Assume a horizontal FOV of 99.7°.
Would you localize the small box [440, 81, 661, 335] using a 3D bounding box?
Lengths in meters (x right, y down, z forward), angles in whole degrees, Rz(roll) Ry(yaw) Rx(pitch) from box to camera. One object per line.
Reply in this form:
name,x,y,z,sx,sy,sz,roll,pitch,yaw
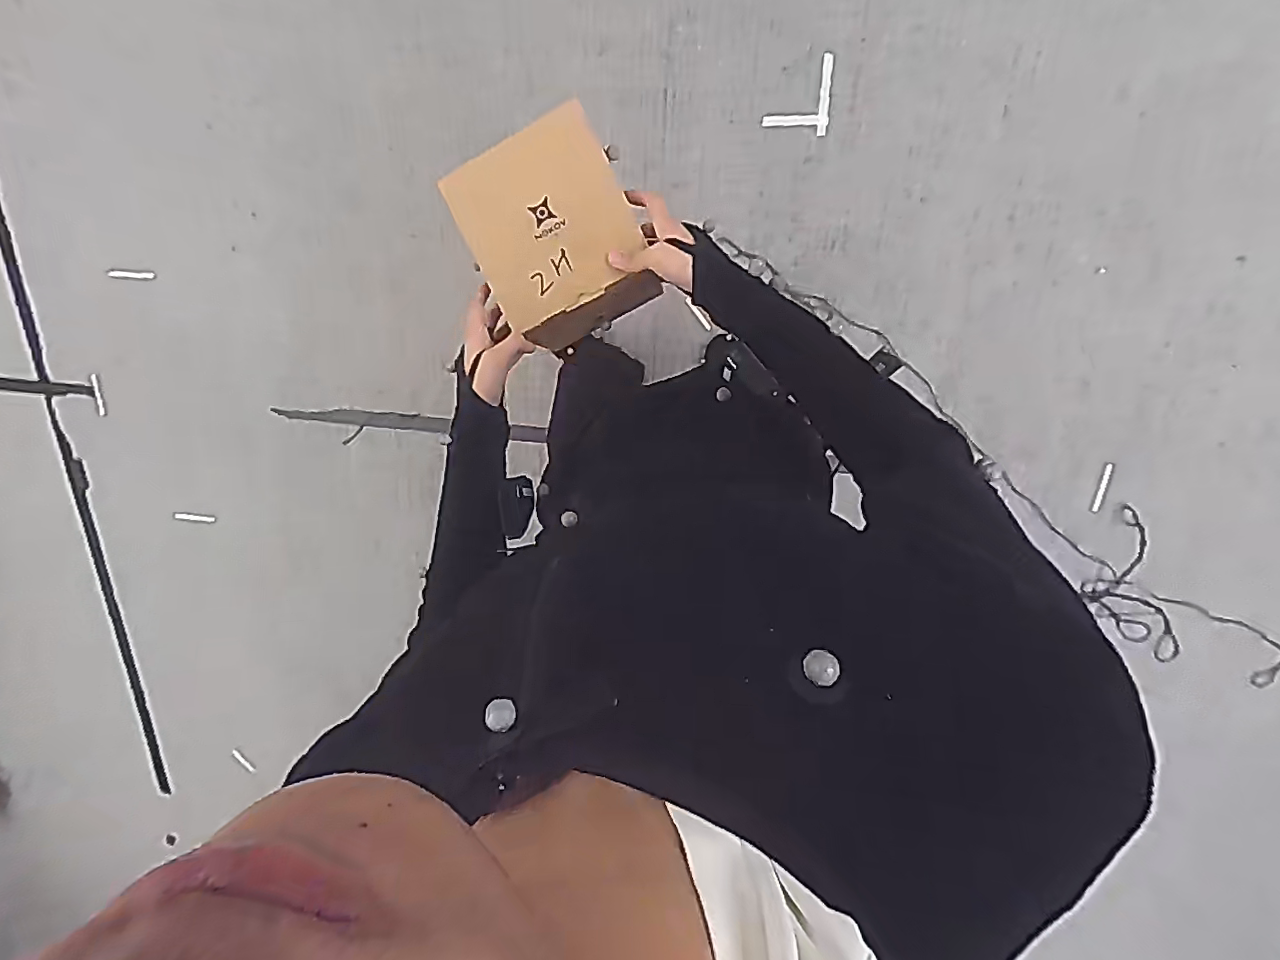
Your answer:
small box,-0.086,-0.284,0.613,0.168,0.176,0.179,-25,96,9
